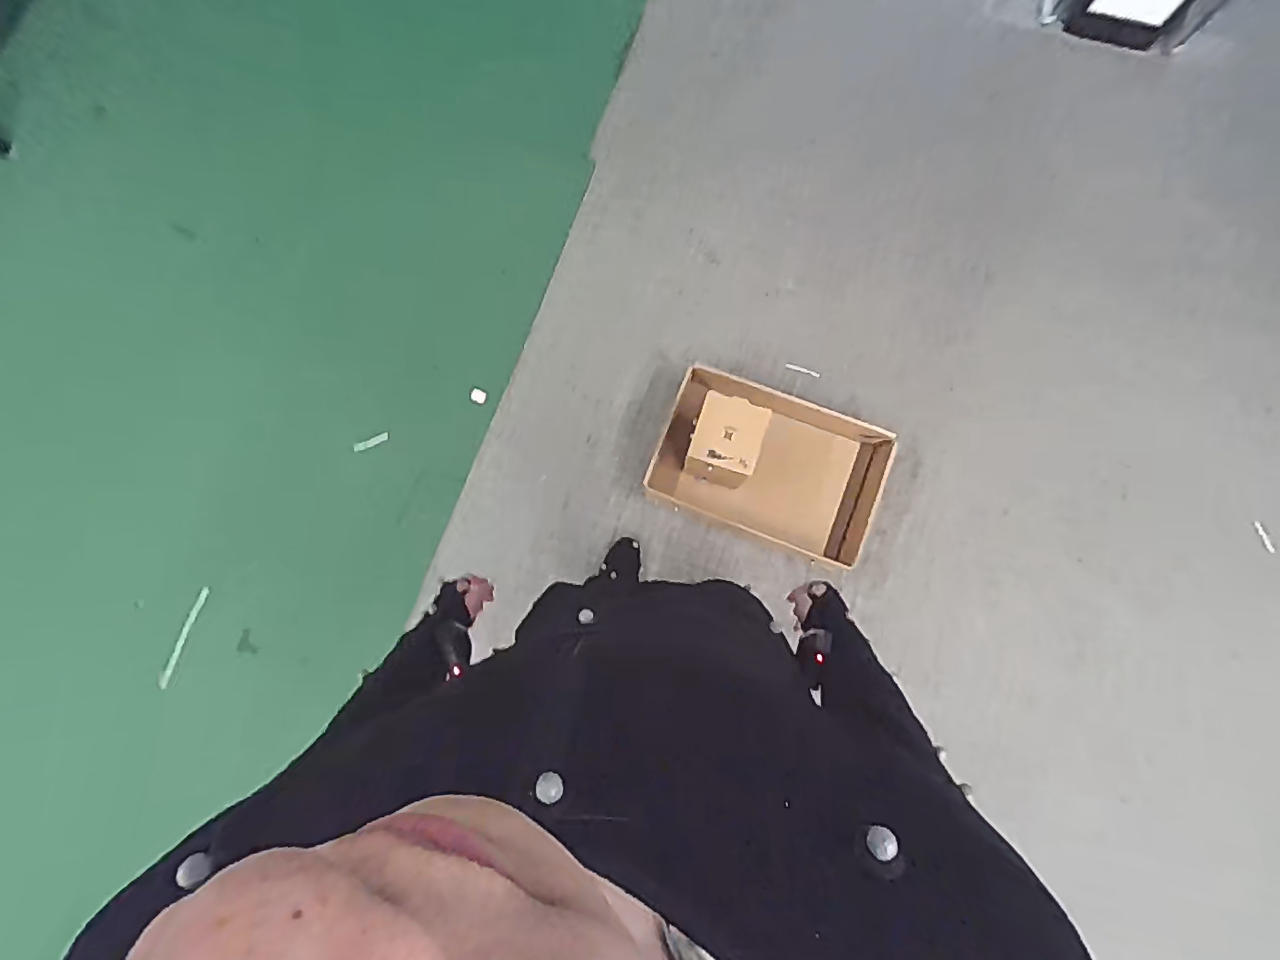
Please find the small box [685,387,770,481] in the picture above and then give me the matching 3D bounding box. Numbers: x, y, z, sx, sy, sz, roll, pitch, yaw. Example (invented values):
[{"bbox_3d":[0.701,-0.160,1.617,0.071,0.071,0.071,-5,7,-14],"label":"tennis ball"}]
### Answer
[{"bbox_3d":[0.217,-0.111,1.391,0.168,0.176,0.179,18,83,5],"label":"small box"}]
